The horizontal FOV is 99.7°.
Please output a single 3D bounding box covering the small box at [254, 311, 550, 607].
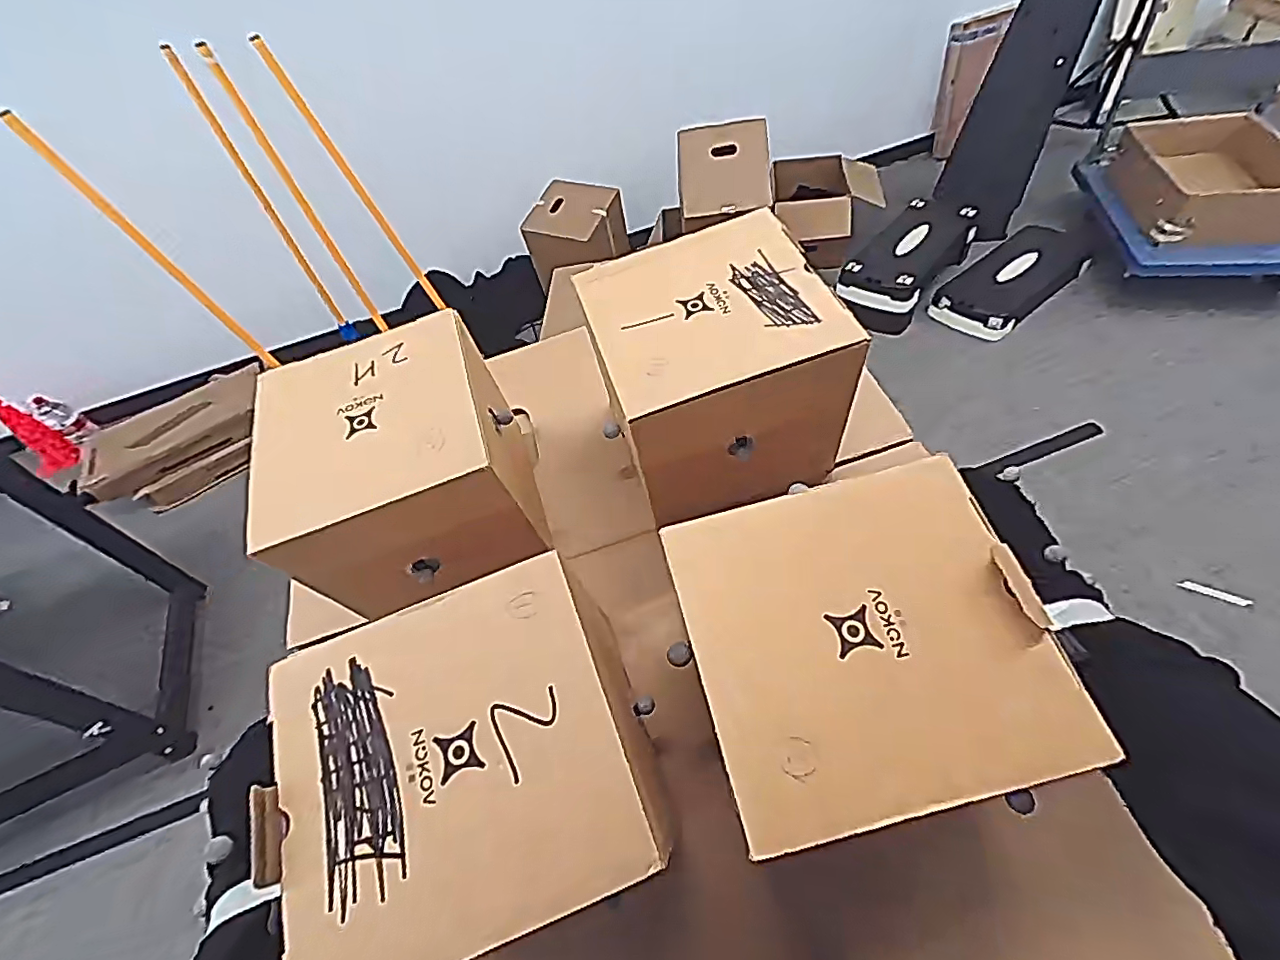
[{"bbox_3d":[-0.190,-0.006,0.470,0.168,0.176,0.179,-20,57,-2],"label":"small box"}]
